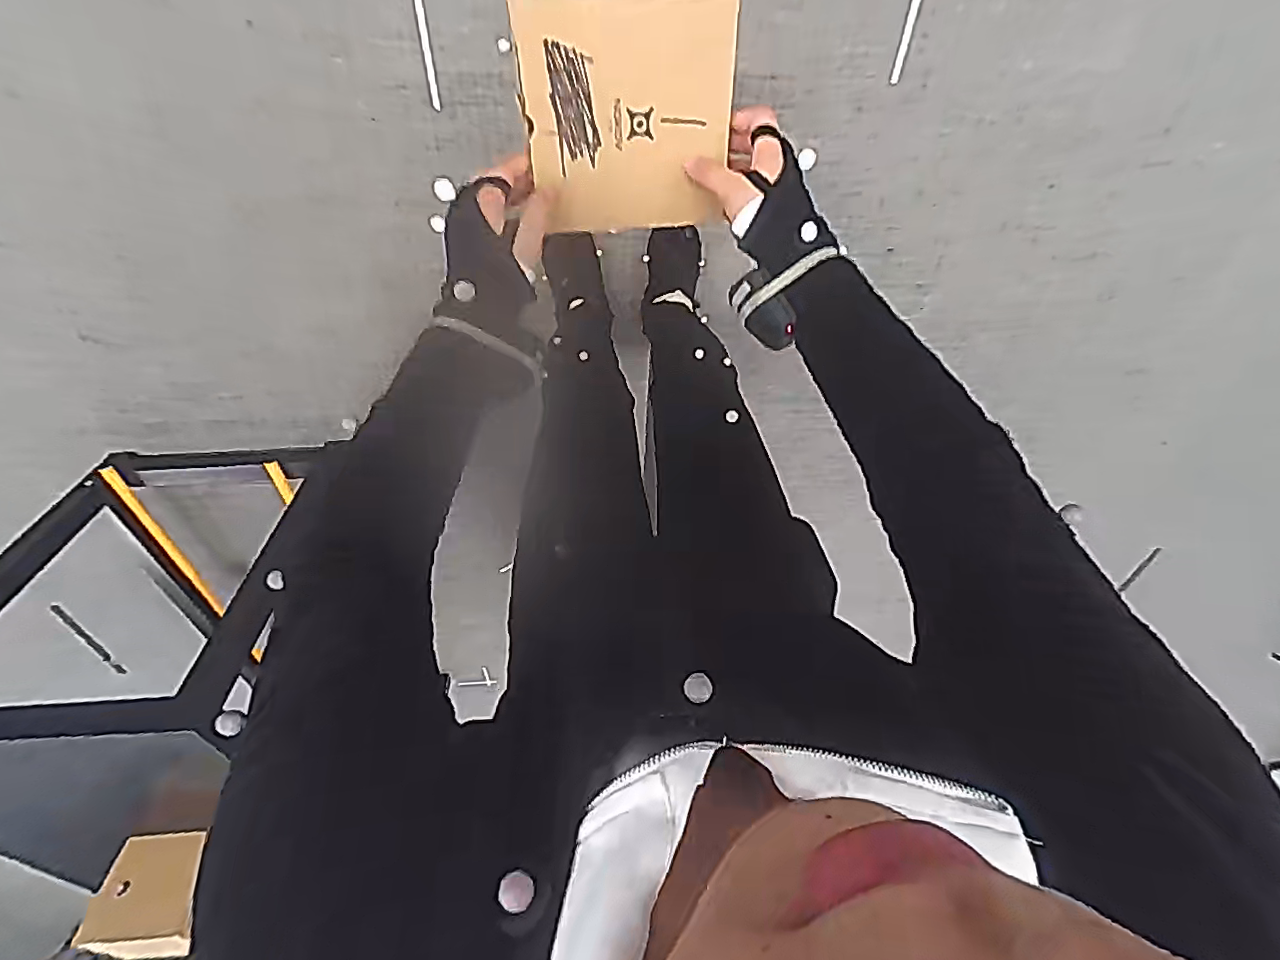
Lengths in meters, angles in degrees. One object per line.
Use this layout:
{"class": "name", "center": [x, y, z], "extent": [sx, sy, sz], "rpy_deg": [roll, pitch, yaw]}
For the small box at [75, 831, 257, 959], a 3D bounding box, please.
{"class": "small box", "center": [-0.904, 0.810, 1.055], "extent": [0.179, 0.176, 0.168], "rpy_deg": [-4, 132, -3]}
